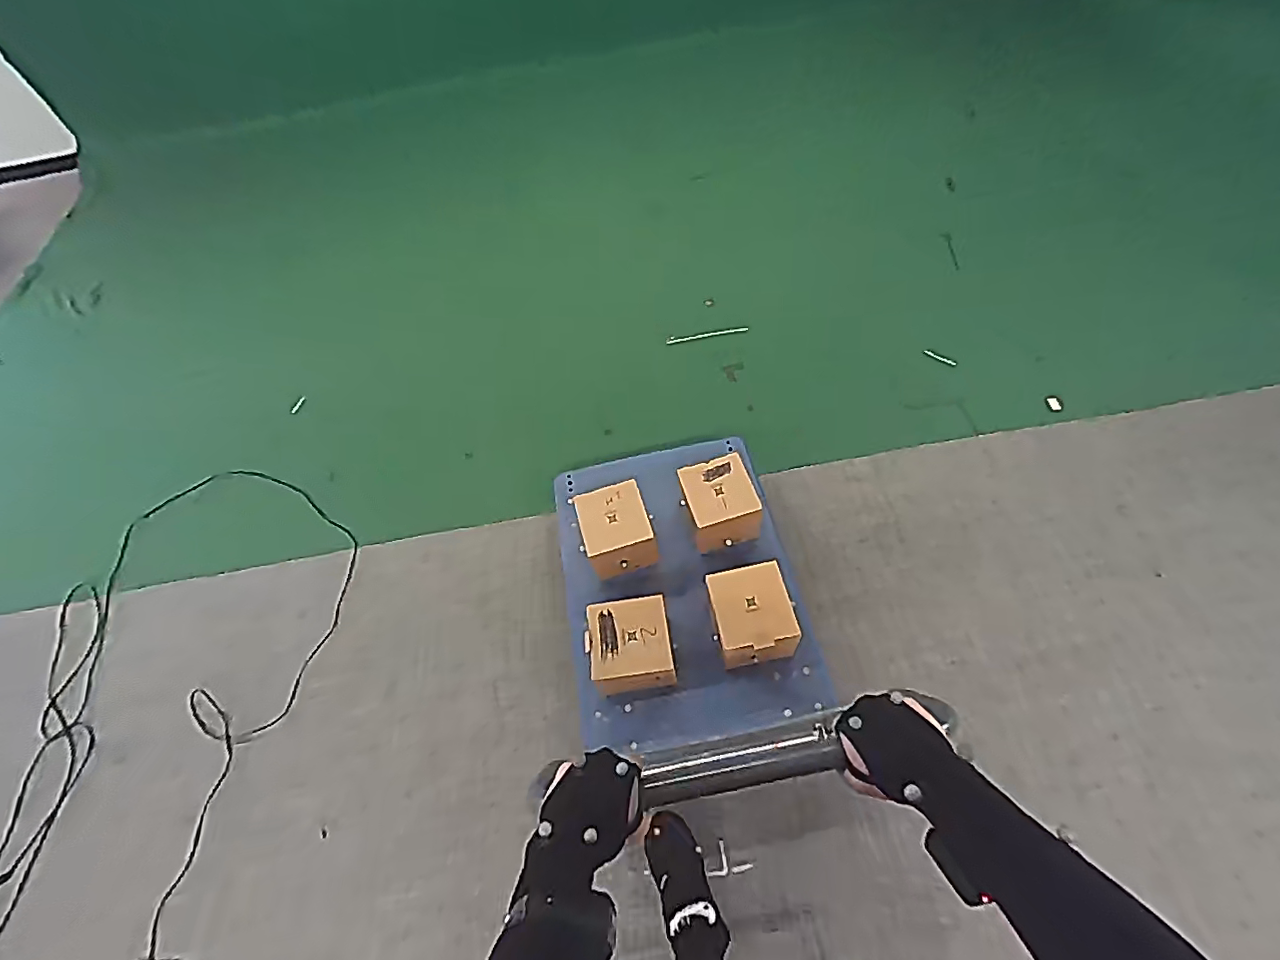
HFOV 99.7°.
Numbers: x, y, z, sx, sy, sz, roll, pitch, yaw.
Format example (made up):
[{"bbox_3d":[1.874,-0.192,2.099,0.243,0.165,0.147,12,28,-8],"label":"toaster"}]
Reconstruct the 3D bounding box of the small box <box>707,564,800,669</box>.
[{"bbox_3d":[0.251,0.317,1.243,0.168,0.176,0.179,-12,58,0],"label":"small box"}]

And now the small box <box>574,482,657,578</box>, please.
[{"bbox_3d":[-0.058,0.138,1.389,0.168,0.176,0.179,-16,58,-4],"label":"small box"}]

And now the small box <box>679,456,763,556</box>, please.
[{"bbox_3d":[0.202,0.070,1.399,0.168,0.176,0.179,-16,59,-2],"label":"small box"}]
